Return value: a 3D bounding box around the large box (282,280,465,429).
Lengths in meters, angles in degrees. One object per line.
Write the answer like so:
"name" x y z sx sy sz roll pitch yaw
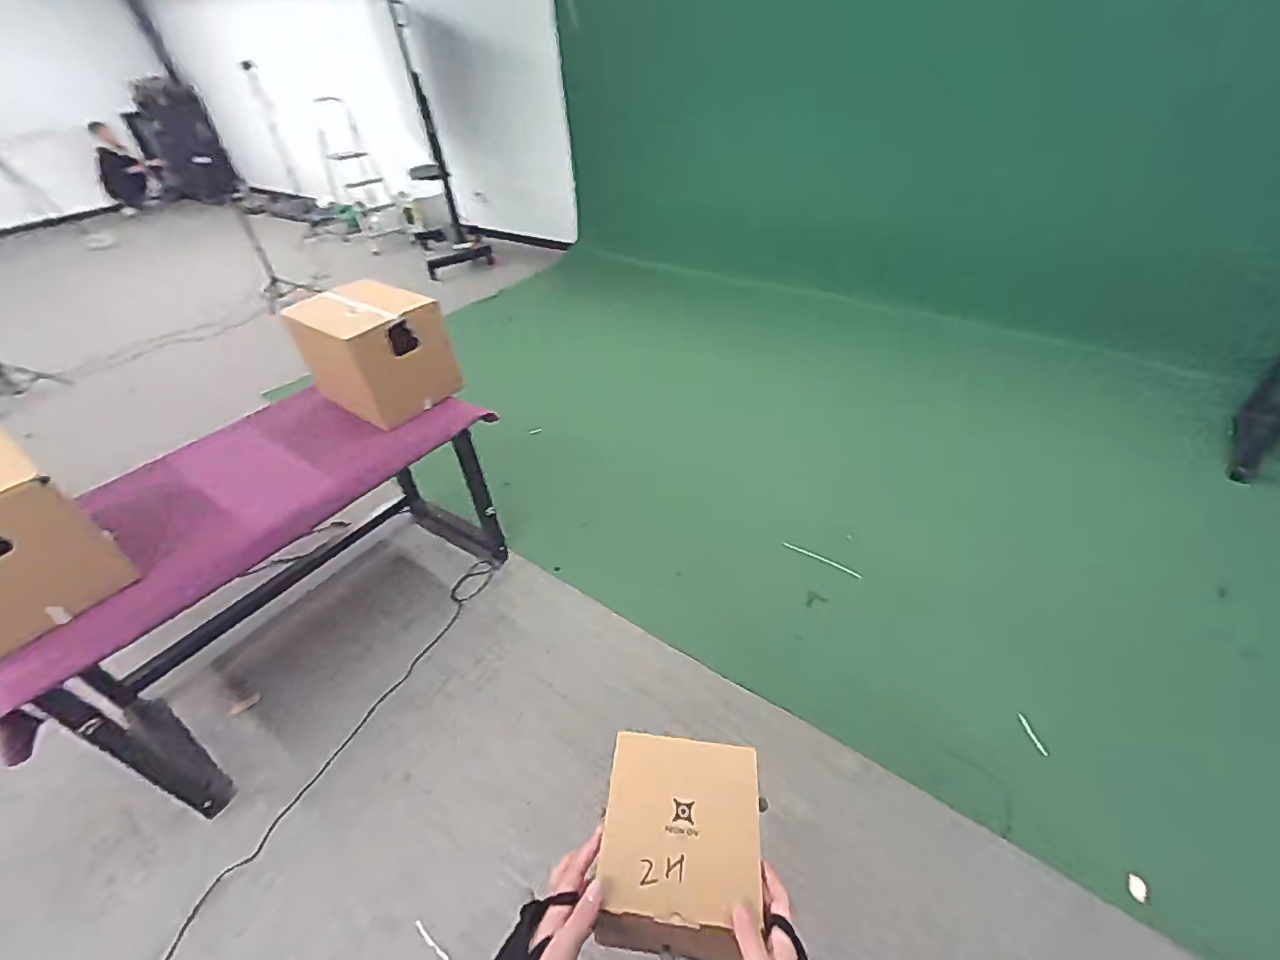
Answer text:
"large box" -0.846 -0.414 1.749 0.408 0.320 0.320 24 49 29

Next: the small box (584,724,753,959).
"small box" 0.033 0.416 0.625 0.168 0.176 0.179 5 40 4
